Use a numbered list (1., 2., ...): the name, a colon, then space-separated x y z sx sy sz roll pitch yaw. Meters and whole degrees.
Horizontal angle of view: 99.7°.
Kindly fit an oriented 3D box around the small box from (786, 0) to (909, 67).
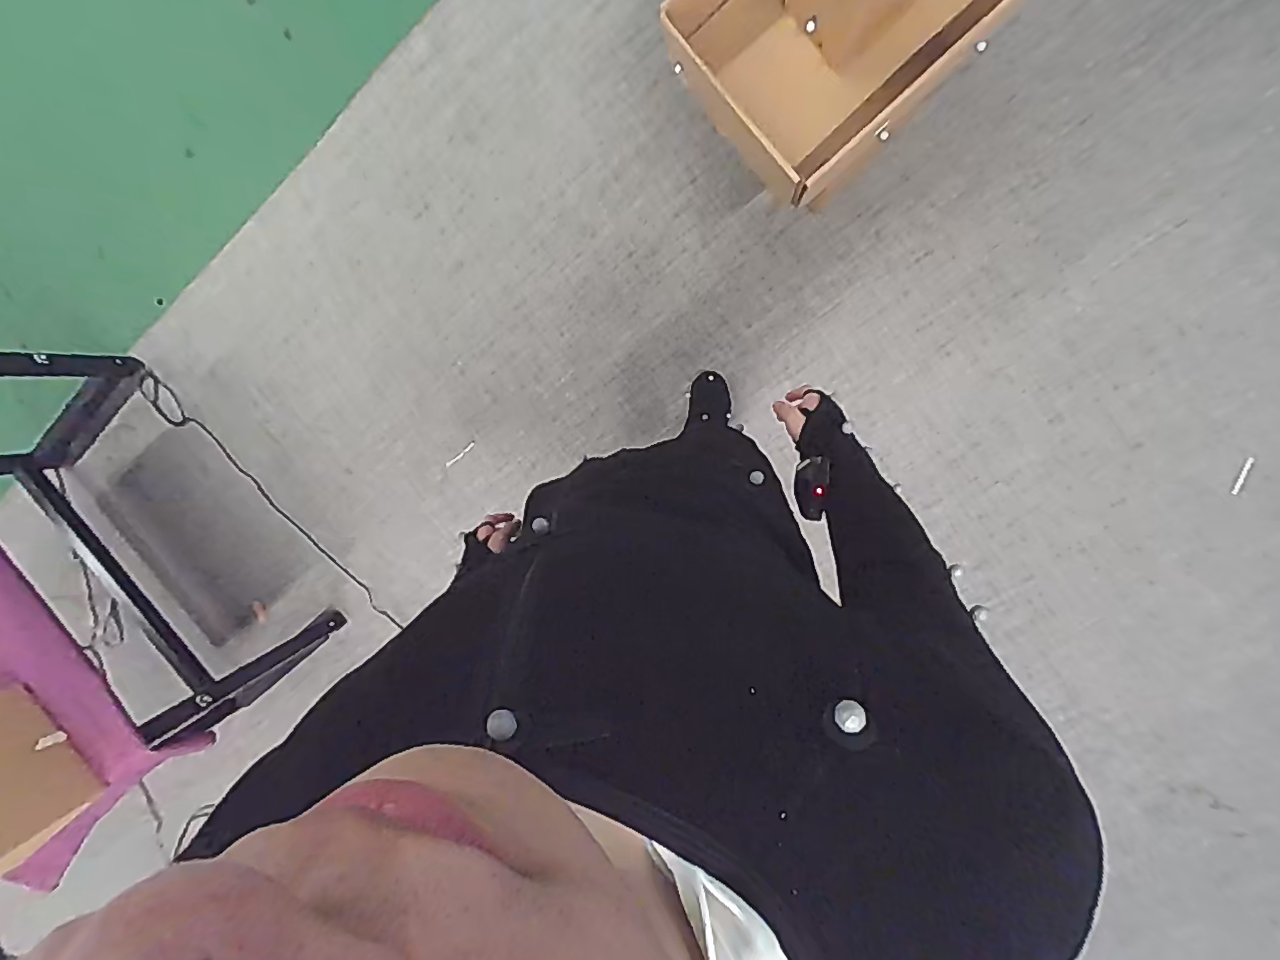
1. small box: 0.366 -0.861 0.904 0.179 0.176 0.168 -40 91 13
